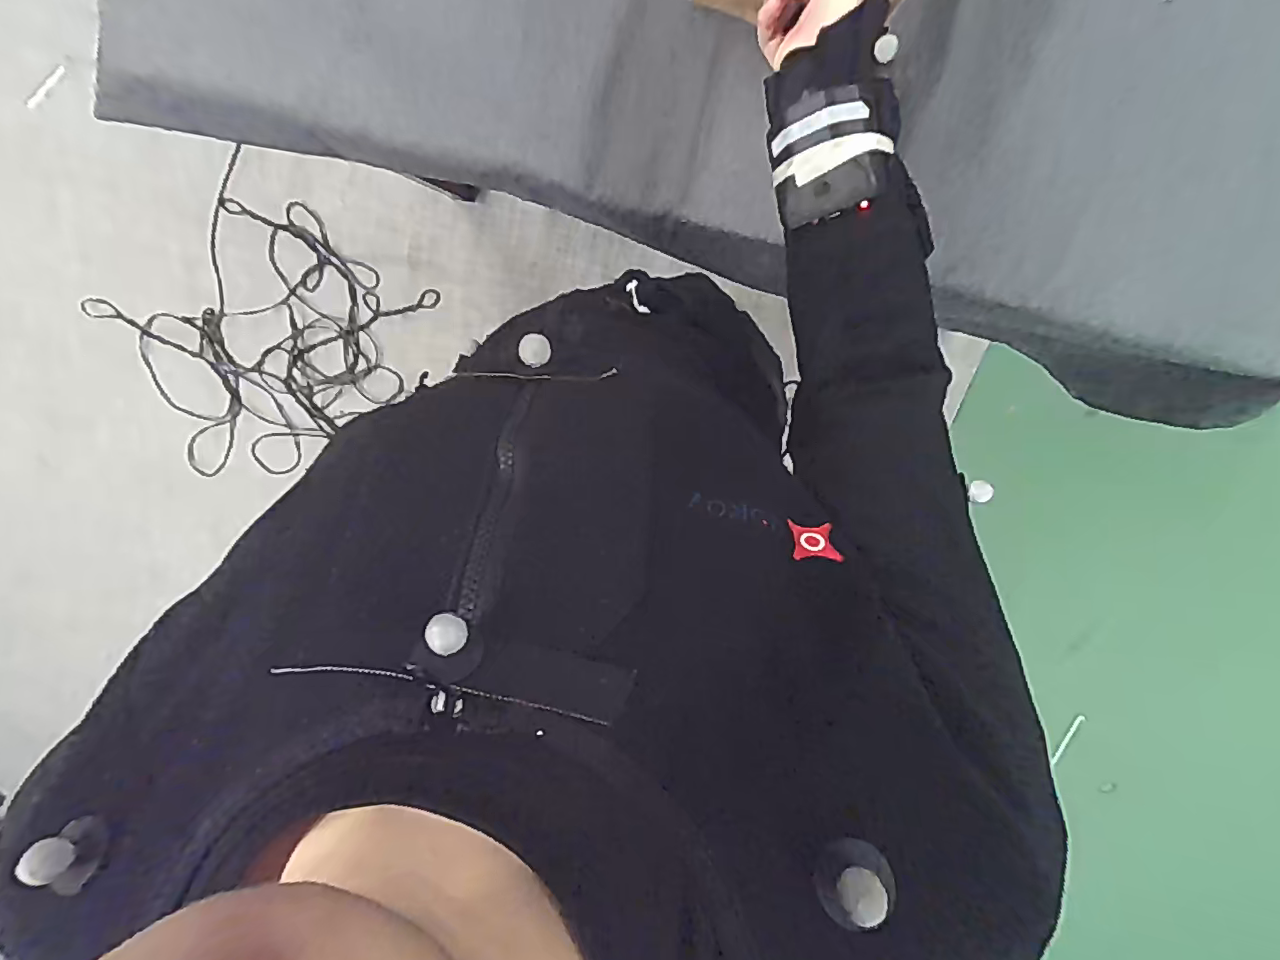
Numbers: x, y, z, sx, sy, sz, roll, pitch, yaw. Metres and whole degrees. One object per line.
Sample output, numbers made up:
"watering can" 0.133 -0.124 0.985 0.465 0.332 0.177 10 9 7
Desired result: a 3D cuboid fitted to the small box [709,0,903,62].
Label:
"small box" 0.140 -0.444 0.379 0.168 0.176 0.179 19 107 -2
